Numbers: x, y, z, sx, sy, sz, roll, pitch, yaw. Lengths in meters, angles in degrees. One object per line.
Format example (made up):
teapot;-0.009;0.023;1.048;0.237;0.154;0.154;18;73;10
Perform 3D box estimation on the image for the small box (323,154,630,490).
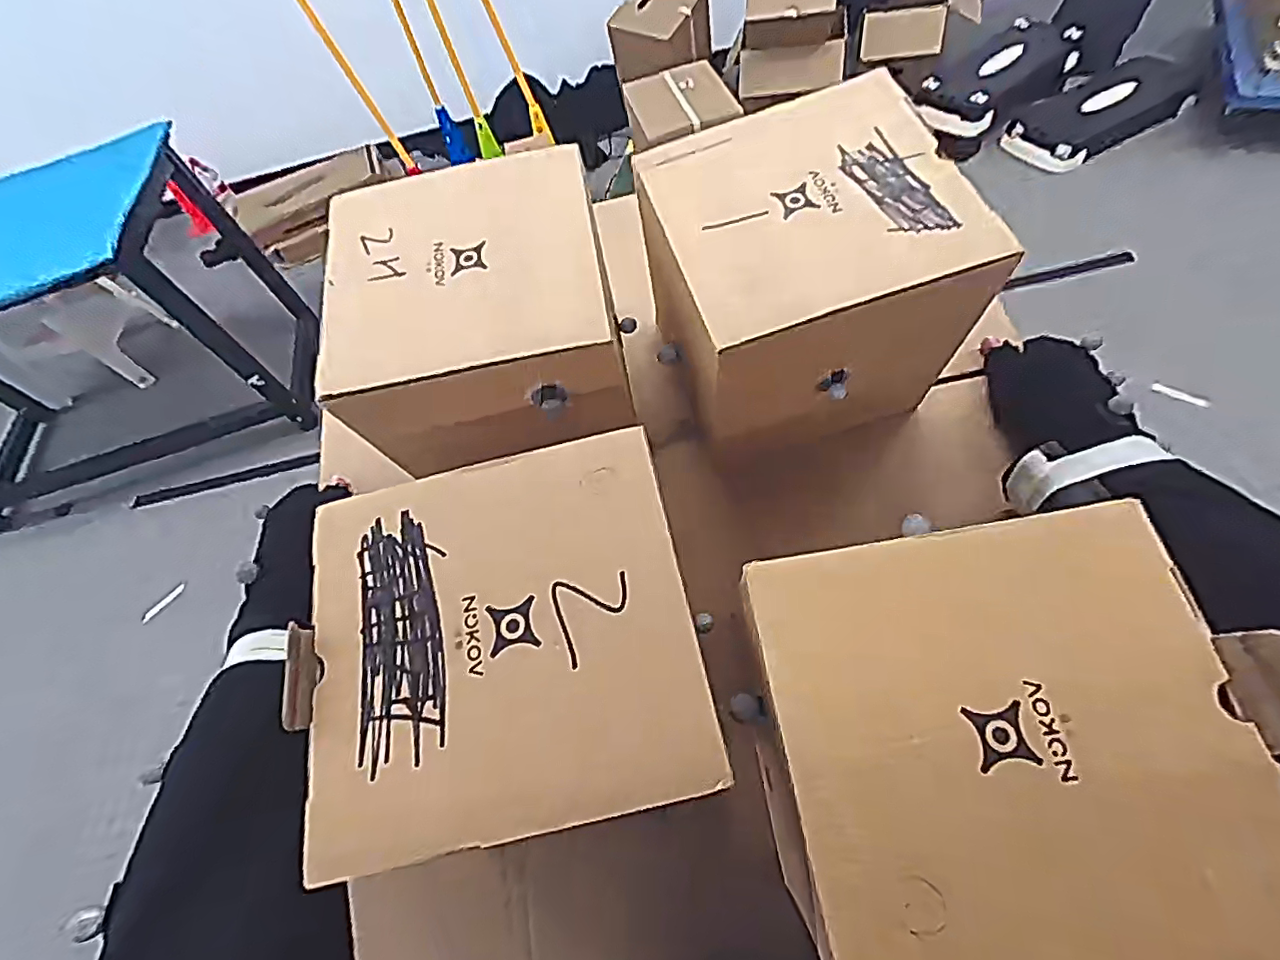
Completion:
small box;-0.107;-0.106;0.421;0.179;0.176;0.168;-11;67;3
